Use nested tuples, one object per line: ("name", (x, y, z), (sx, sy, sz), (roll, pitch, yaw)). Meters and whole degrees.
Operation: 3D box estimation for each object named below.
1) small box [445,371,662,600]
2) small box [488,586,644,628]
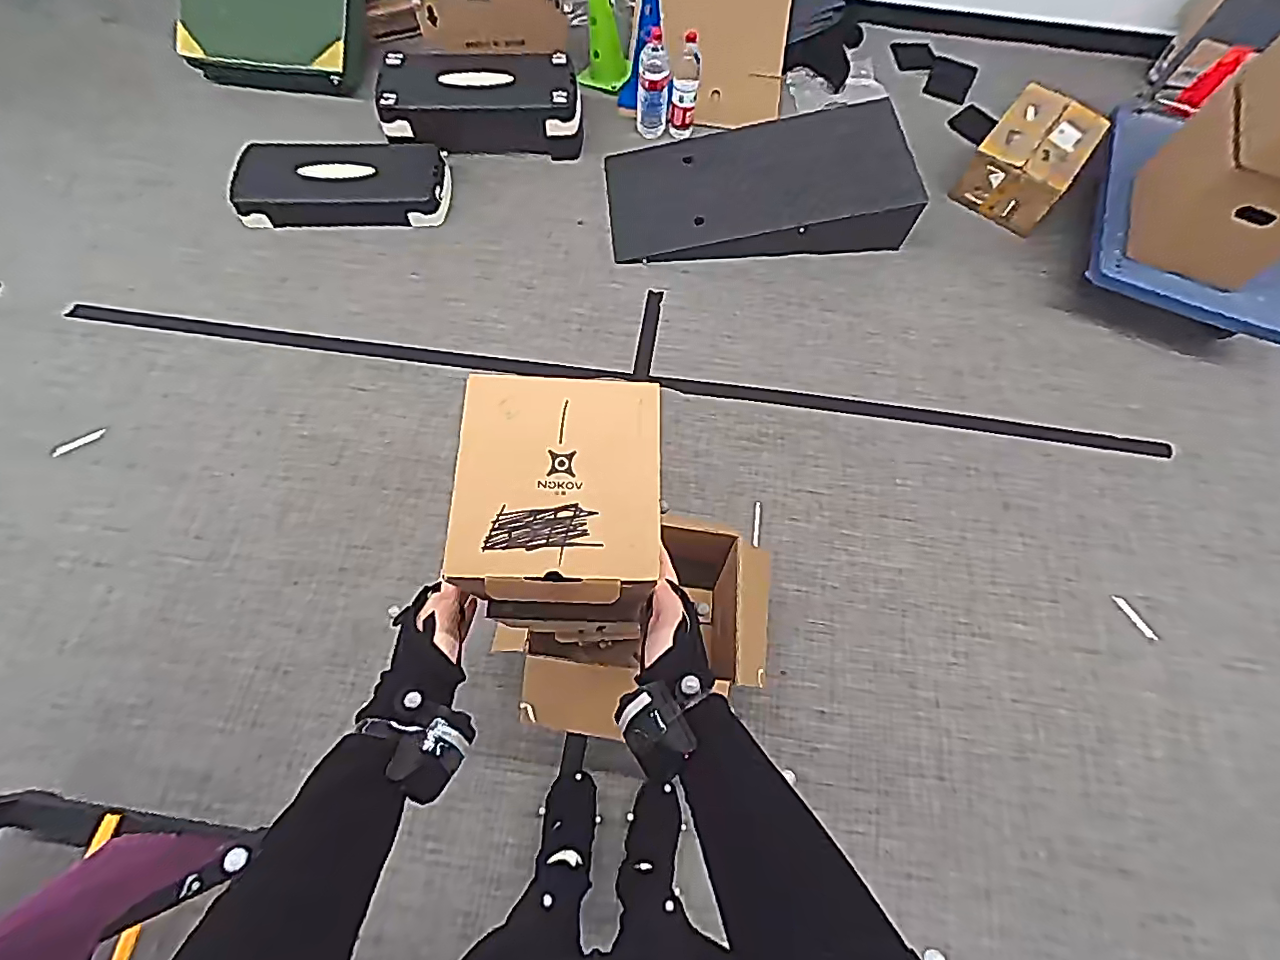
("small box", (-0.072, 0.018, 0.514), (0.168, 0.176, 0.179), (3, 71, -5))
("small box", (-0.079, 0.087, 0.664), (0.168, 0.176, 0.179), (4, 71, -4))
